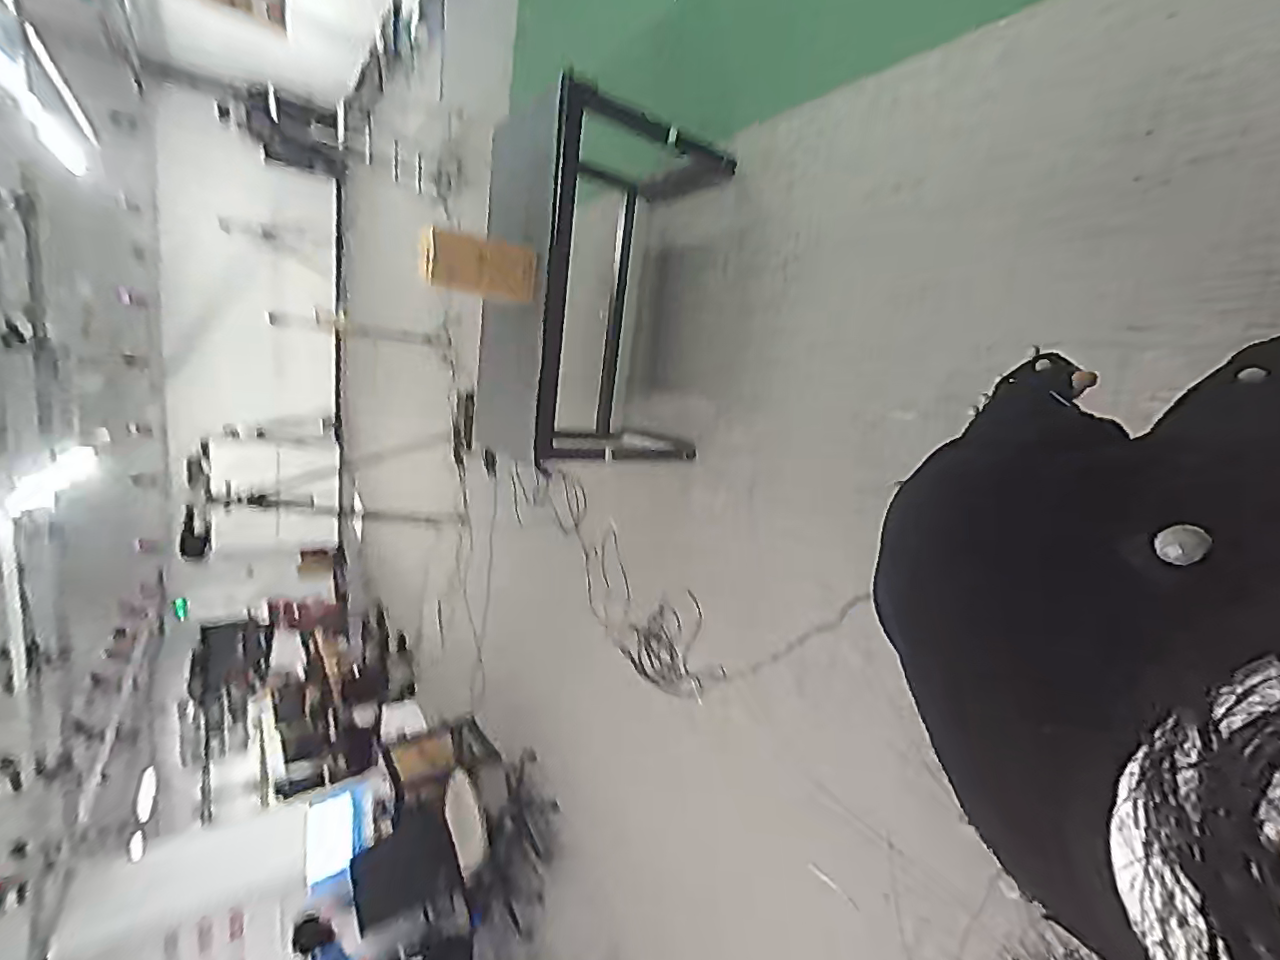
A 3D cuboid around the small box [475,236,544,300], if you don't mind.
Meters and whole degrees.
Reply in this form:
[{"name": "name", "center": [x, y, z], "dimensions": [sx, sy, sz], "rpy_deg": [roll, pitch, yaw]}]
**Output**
[{"name": "small box", "center": [-0.437, -0.702, 1.807], "dimensions": [0.179, 0.176, 0.168], "rpy_deg": [23, 110, 52]}]
